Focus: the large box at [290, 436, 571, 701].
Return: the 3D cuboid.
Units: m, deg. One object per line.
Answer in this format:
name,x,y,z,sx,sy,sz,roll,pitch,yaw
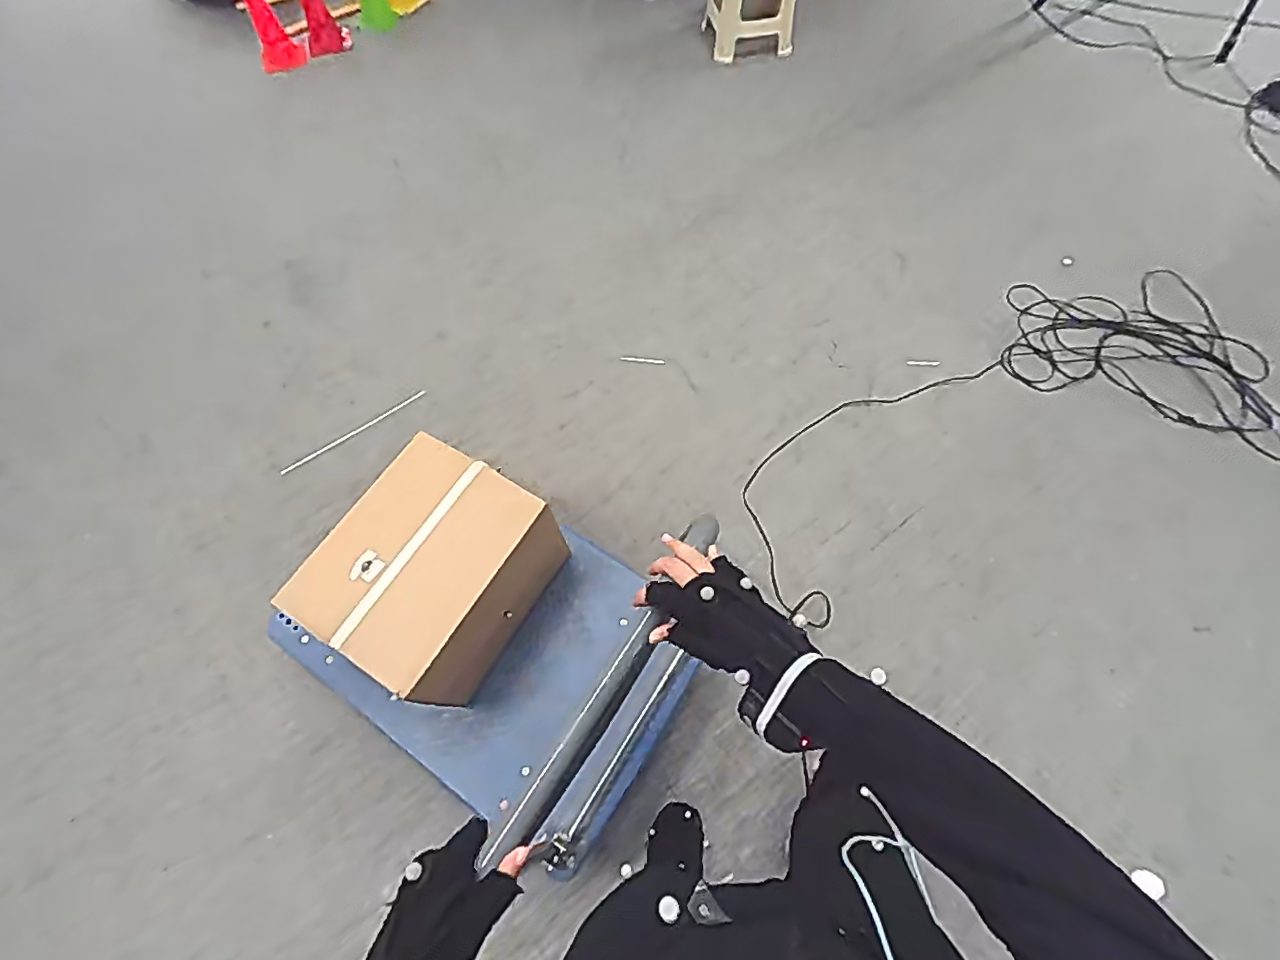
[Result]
large box,-0.388,0.192,1.122,0.320,0.320,0.408,28,69,14
